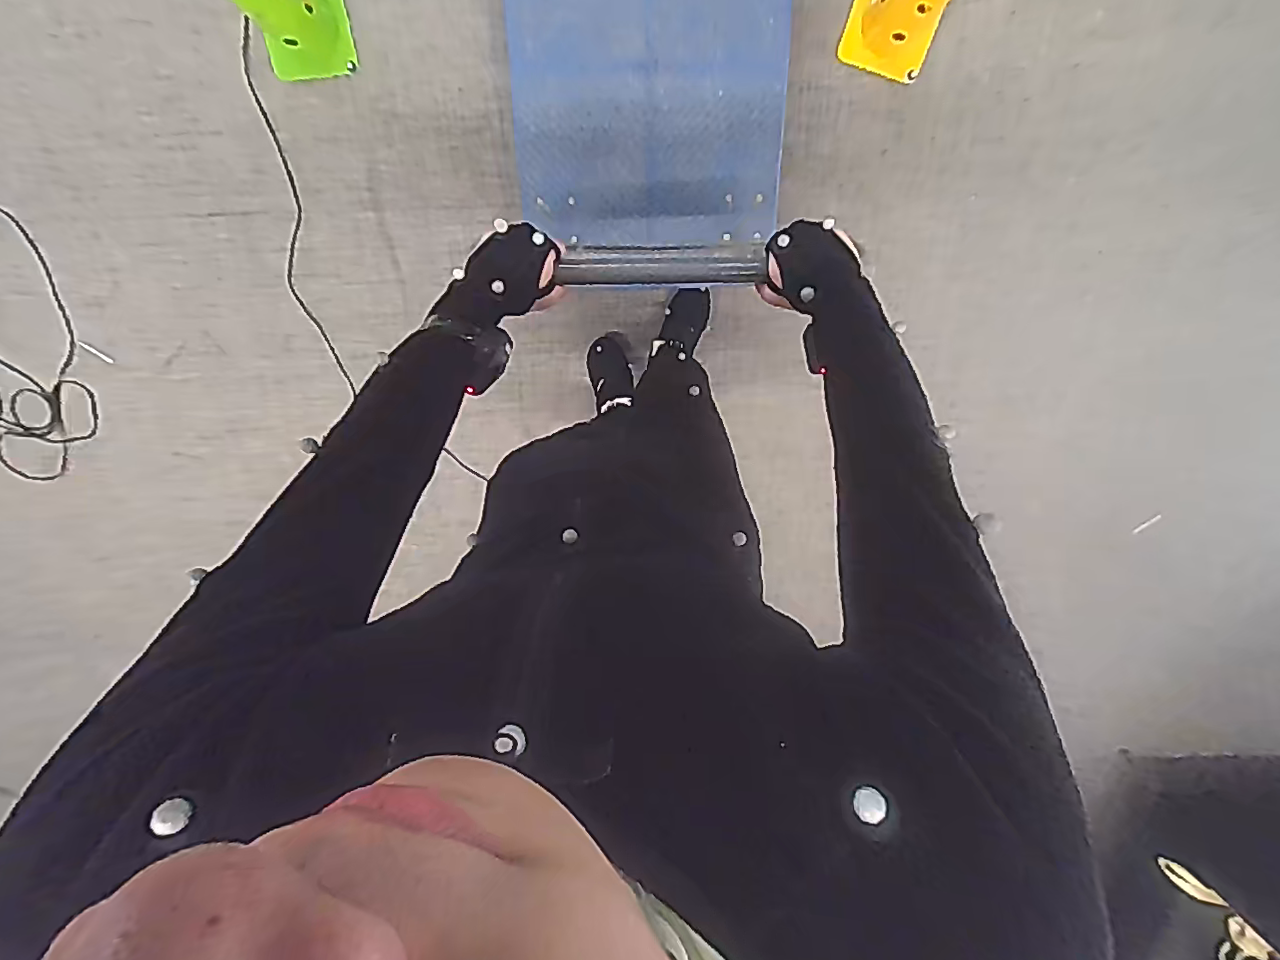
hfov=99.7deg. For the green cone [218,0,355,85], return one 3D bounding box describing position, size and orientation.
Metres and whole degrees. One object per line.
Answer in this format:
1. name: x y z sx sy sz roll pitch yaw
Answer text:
1. green cone: -0.770 -0.960 1.066 0.202 0.368 0.200 -4 112 4
